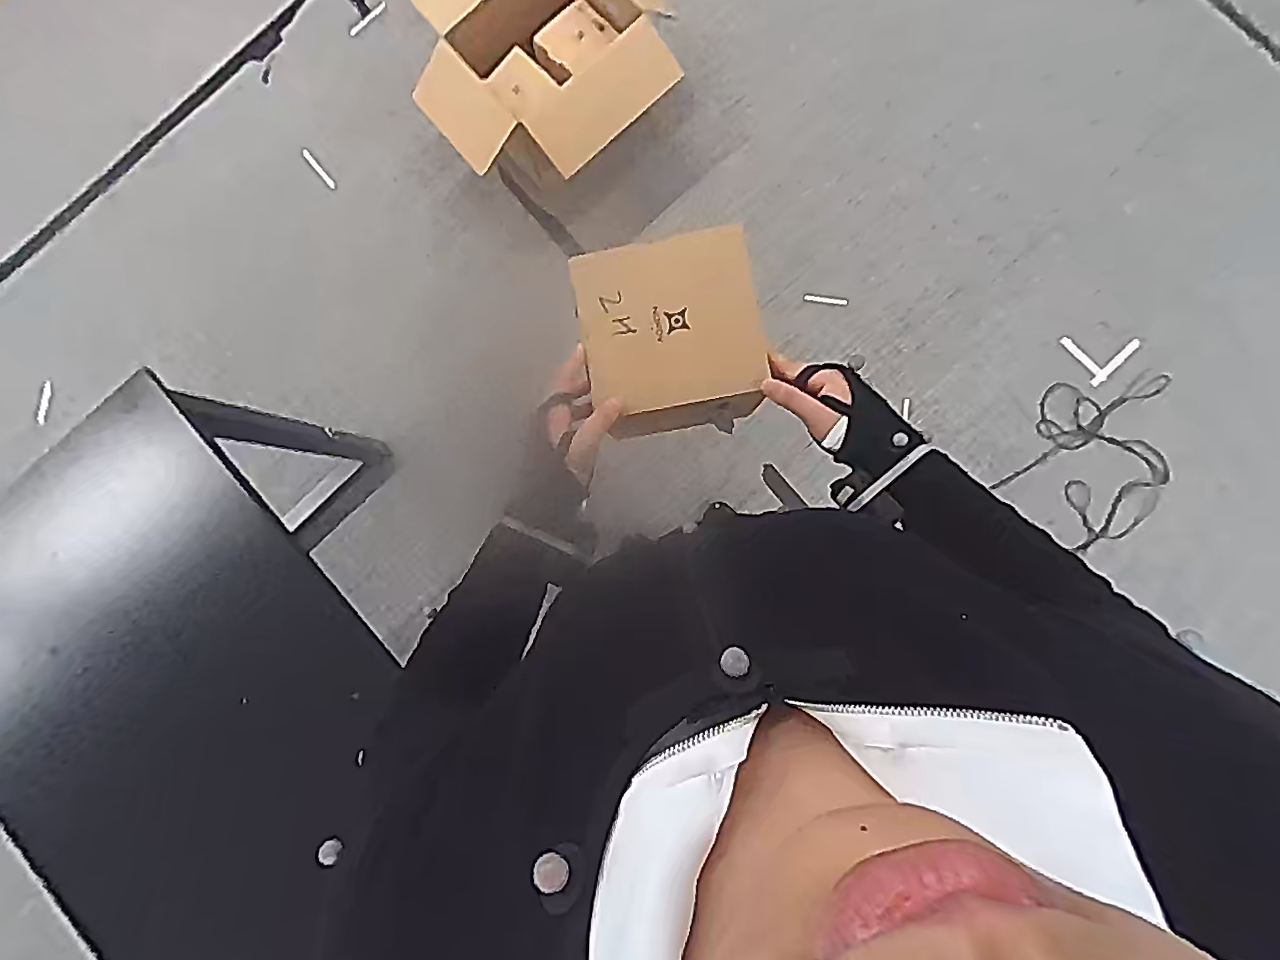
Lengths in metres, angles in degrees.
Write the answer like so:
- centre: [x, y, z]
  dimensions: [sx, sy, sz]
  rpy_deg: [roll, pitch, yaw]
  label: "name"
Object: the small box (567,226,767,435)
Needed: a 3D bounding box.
- centre: [0.030, -0.152, 0.608]
  dimensions: [0.179, 0.176, 0.168]
  rpy_deg: [-11, 87, 4]
  label: "small box"
